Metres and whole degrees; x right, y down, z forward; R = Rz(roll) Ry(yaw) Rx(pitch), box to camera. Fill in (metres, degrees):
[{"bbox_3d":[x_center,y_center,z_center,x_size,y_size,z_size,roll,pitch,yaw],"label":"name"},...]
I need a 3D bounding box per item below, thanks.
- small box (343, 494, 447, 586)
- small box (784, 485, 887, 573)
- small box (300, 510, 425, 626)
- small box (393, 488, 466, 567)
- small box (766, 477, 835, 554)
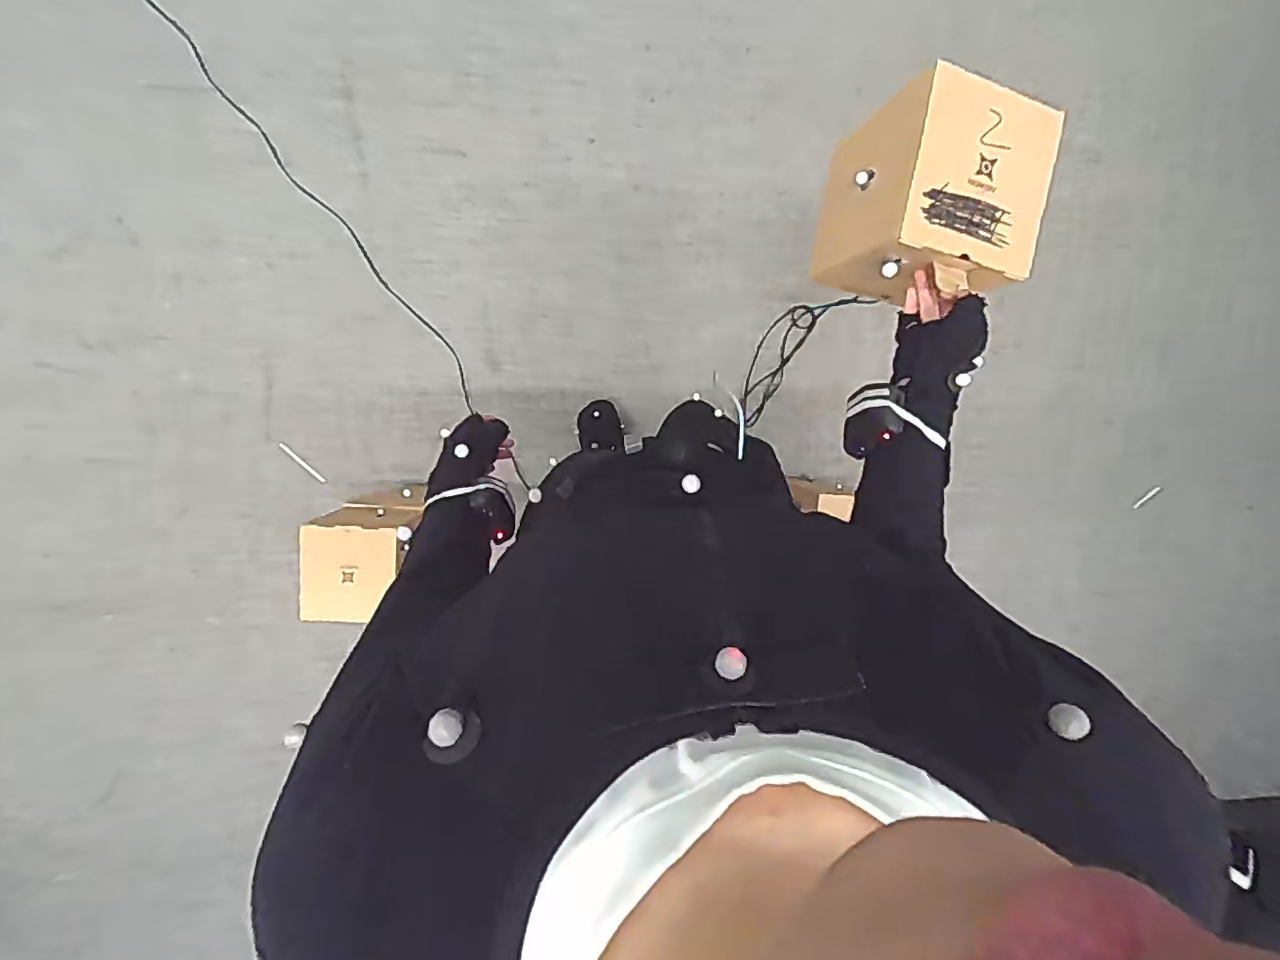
[{"bbox_3d":[-0.532,0.133,1.190,0.168,0.176,0.179,3,96,-5],"label":"small box"},{"bbox_3d":[0.456,0.110,1.286,0.168,0.176,0.179,4,97,-6],"label":"small box"},{"bbox_3d":[-0.518,0.162,1.030,0.168,0.176,0.179,3,96,-5],"label":"small box"},{"bbox_3d":[-0.540,0.113,1.353,0.179,0.176,0.168,2,97,-6],"label":"small box"},{"bbox_3d":[0.444,0.097,1.433,0.168,0.176,0.179,6,97,-6],"label":"small box"}]
